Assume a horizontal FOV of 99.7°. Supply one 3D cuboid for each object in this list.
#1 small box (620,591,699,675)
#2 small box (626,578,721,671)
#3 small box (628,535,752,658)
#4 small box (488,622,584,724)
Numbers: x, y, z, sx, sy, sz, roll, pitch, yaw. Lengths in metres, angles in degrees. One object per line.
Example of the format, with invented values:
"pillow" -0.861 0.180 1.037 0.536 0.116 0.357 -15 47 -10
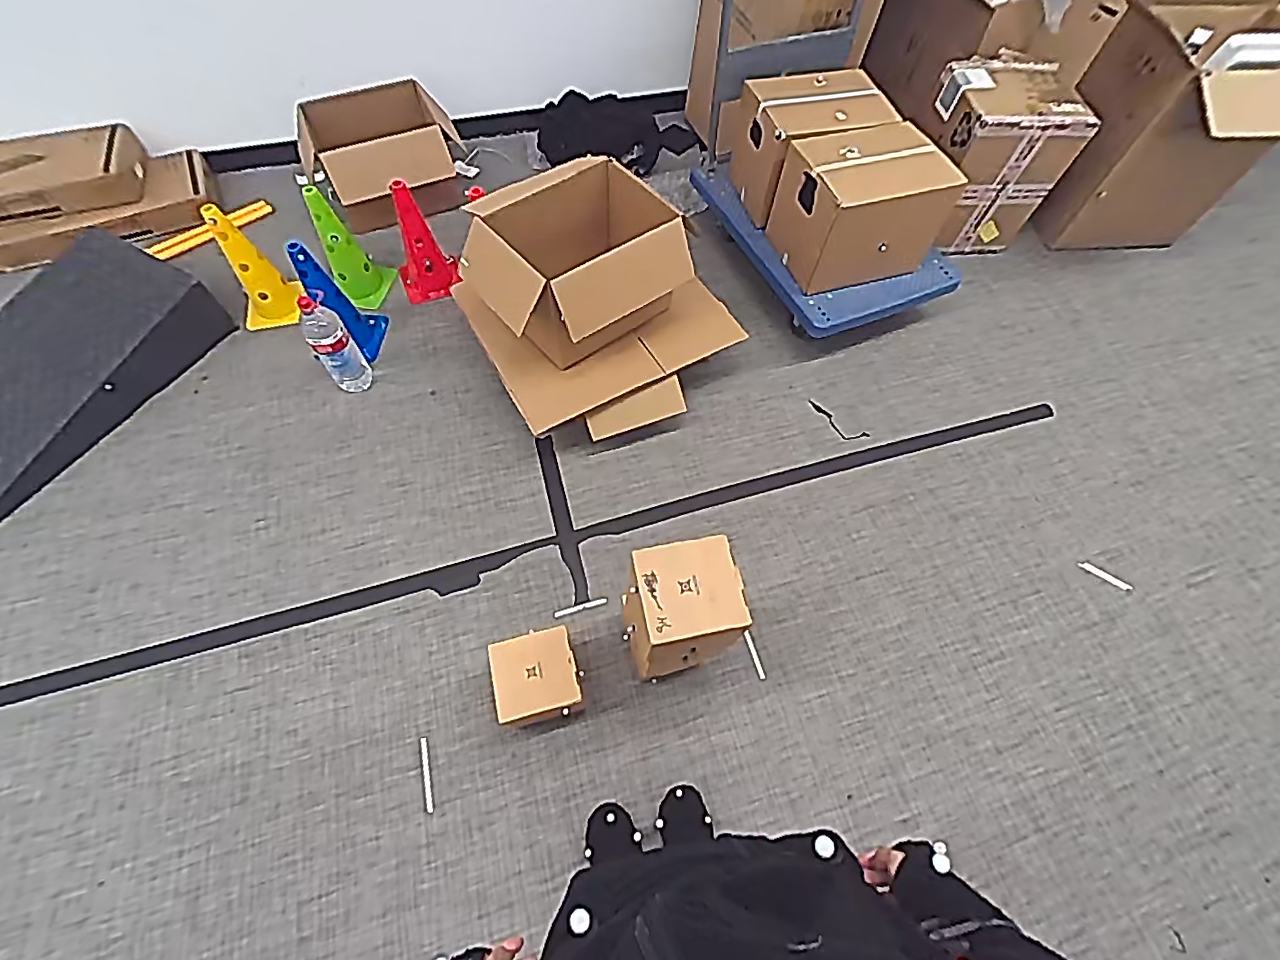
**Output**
"small box" 0.054 0.351 1.281 0.168 0.176 0.179 -14 63 -11
"small box" 0.072 0.288 1.129 0.179 0.176 0.168 -12 64 -10
"small box" 0.081 0.215 0.982 0.179 0.176 0.168 -8 63 -9
"small box" -0.230 0.440 1.221 0.179 0.176 0.168 -13 63 -10
